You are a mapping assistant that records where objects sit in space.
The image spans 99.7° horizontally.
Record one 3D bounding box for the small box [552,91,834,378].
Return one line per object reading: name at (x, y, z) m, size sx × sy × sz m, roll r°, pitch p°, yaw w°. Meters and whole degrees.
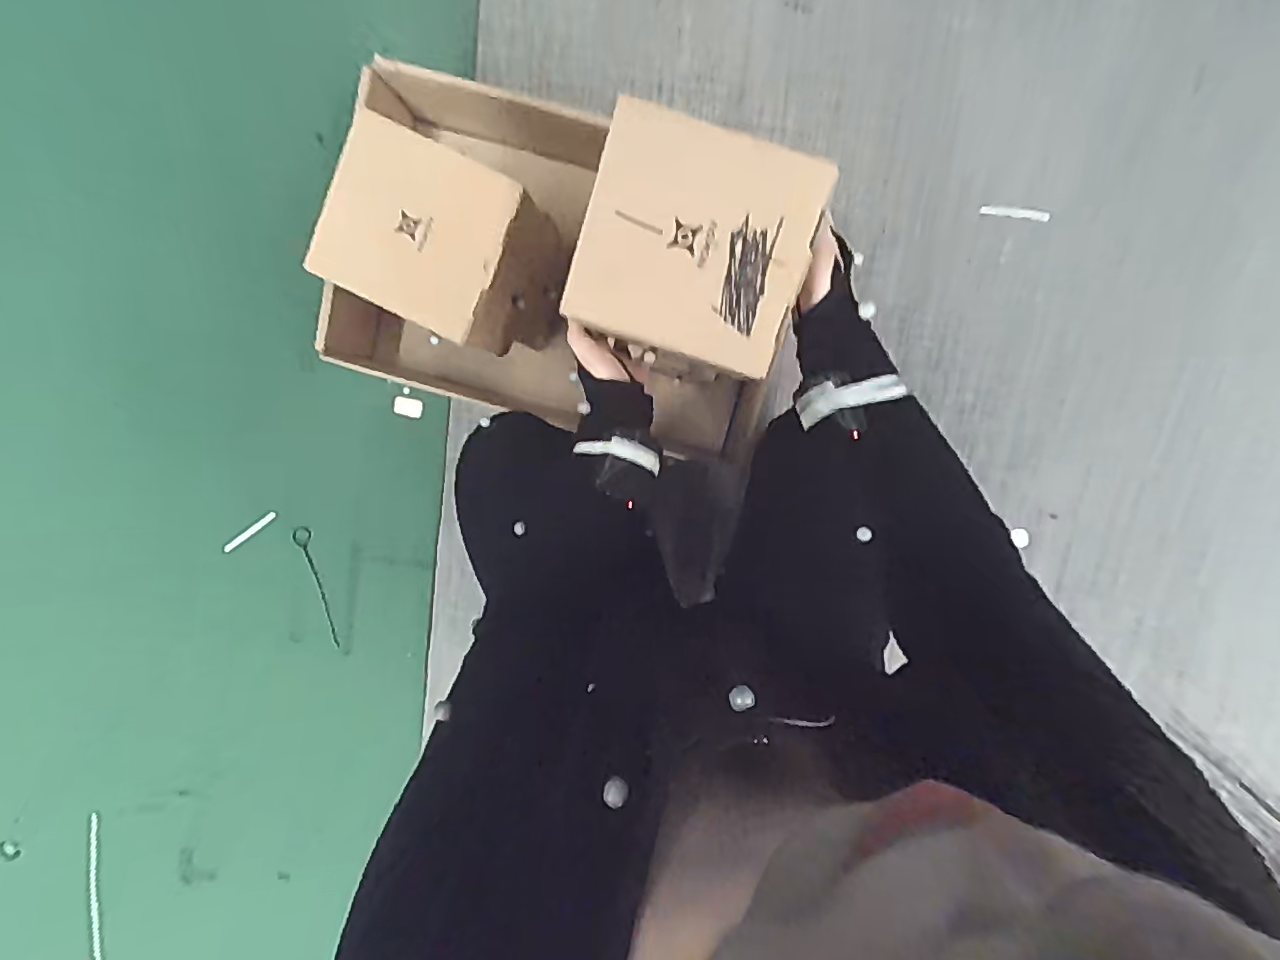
small box at (0.042, -0.200, 0.490) m, size 0.179 × 0.176 × 0.168 m, roll 19°, pitch 102°, yaw 0°
